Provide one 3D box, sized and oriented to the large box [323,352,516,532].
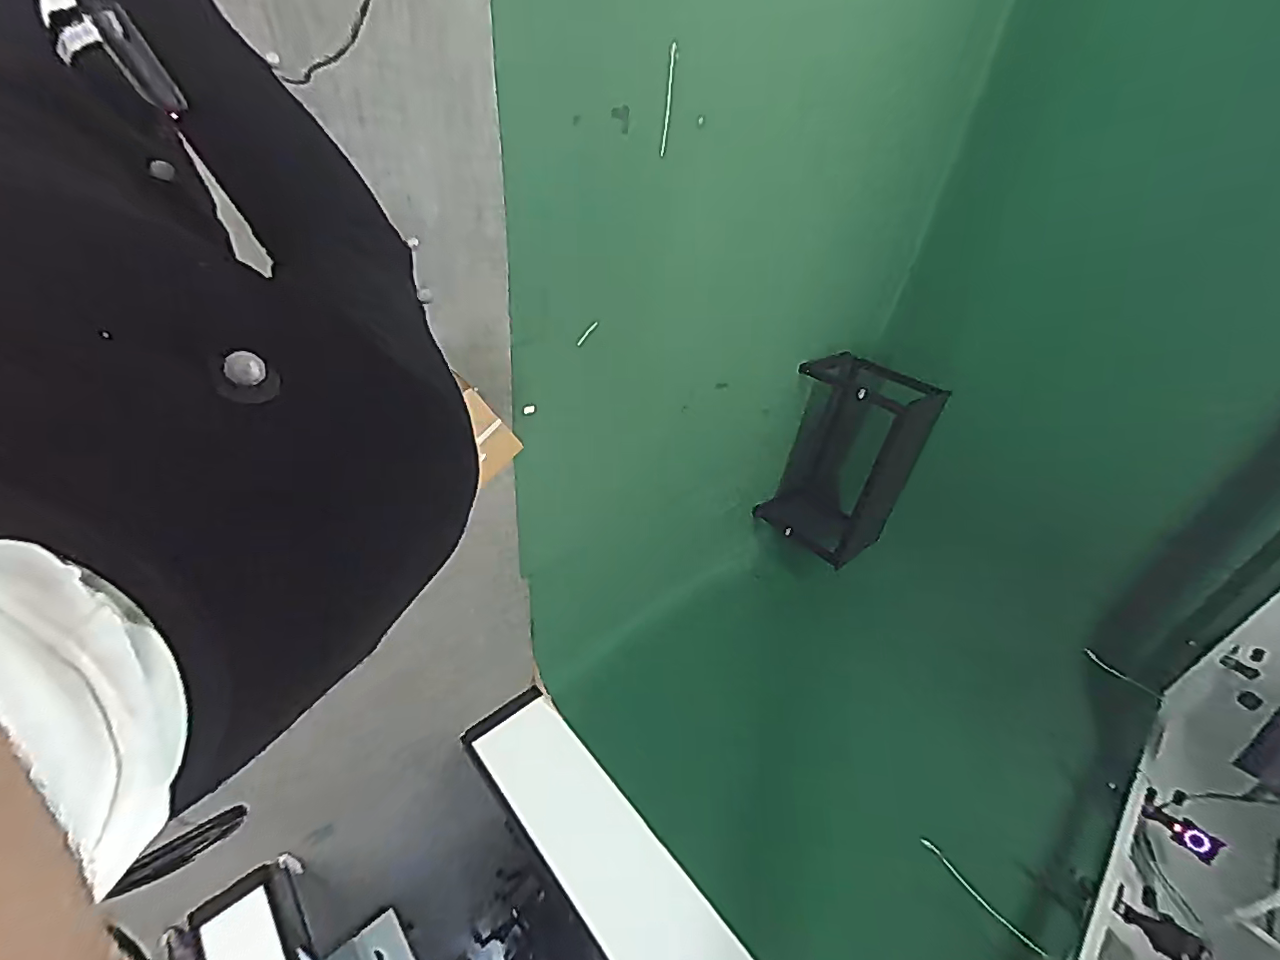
[{"bbox_3d":[-0.684,-0.122,1.698,0.408,0.320,0.320,-48,146,-11],"label":"large box"}]
